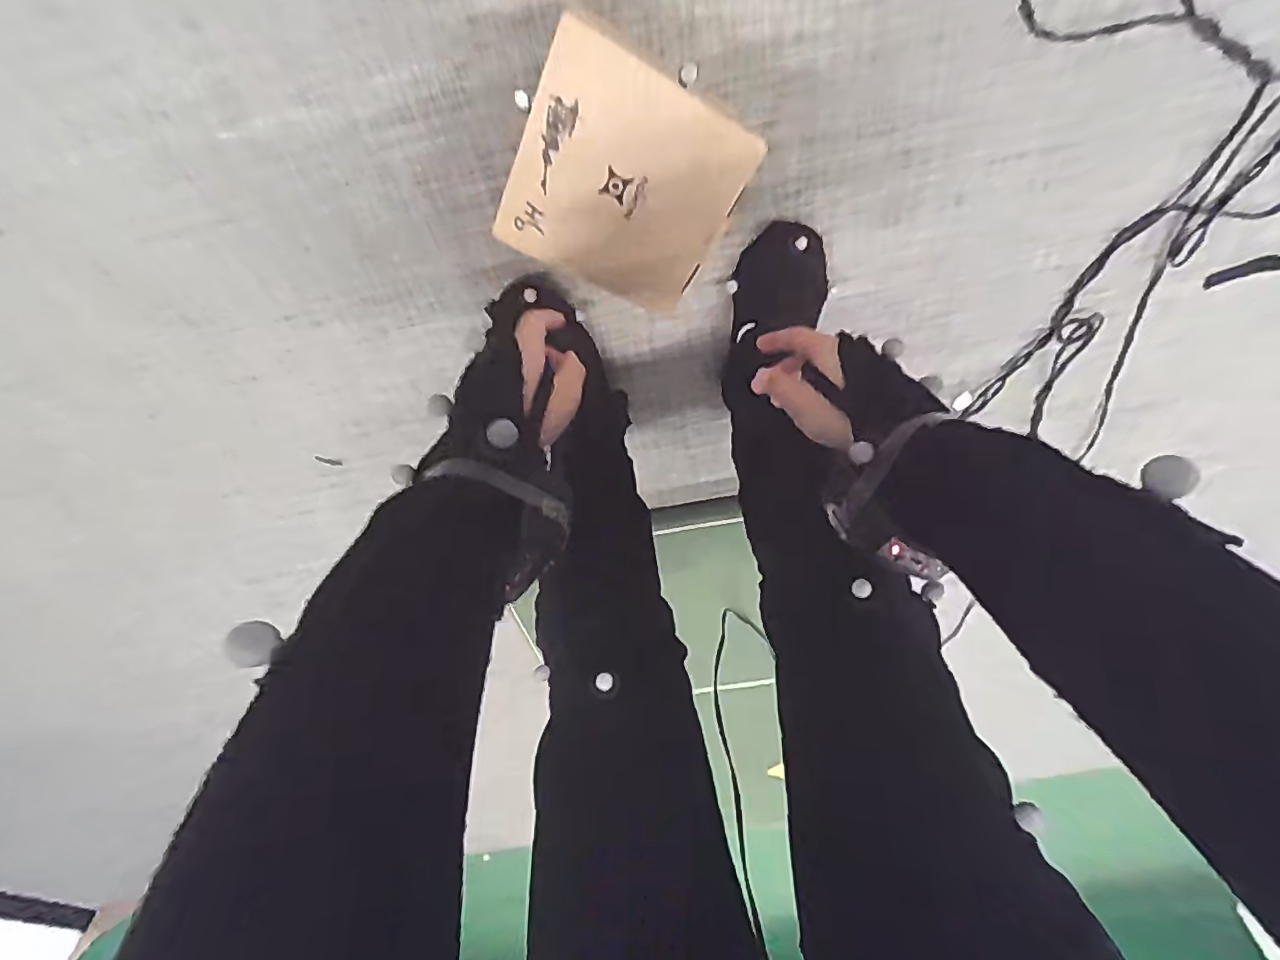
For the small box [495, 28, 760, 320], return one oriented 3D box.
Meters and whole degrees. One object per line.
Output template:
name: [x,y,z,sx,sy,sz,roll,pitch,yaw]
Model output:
small box: [-0.018,-0.290,0.513,0.179,0.176,0.168,19,128,-21]
